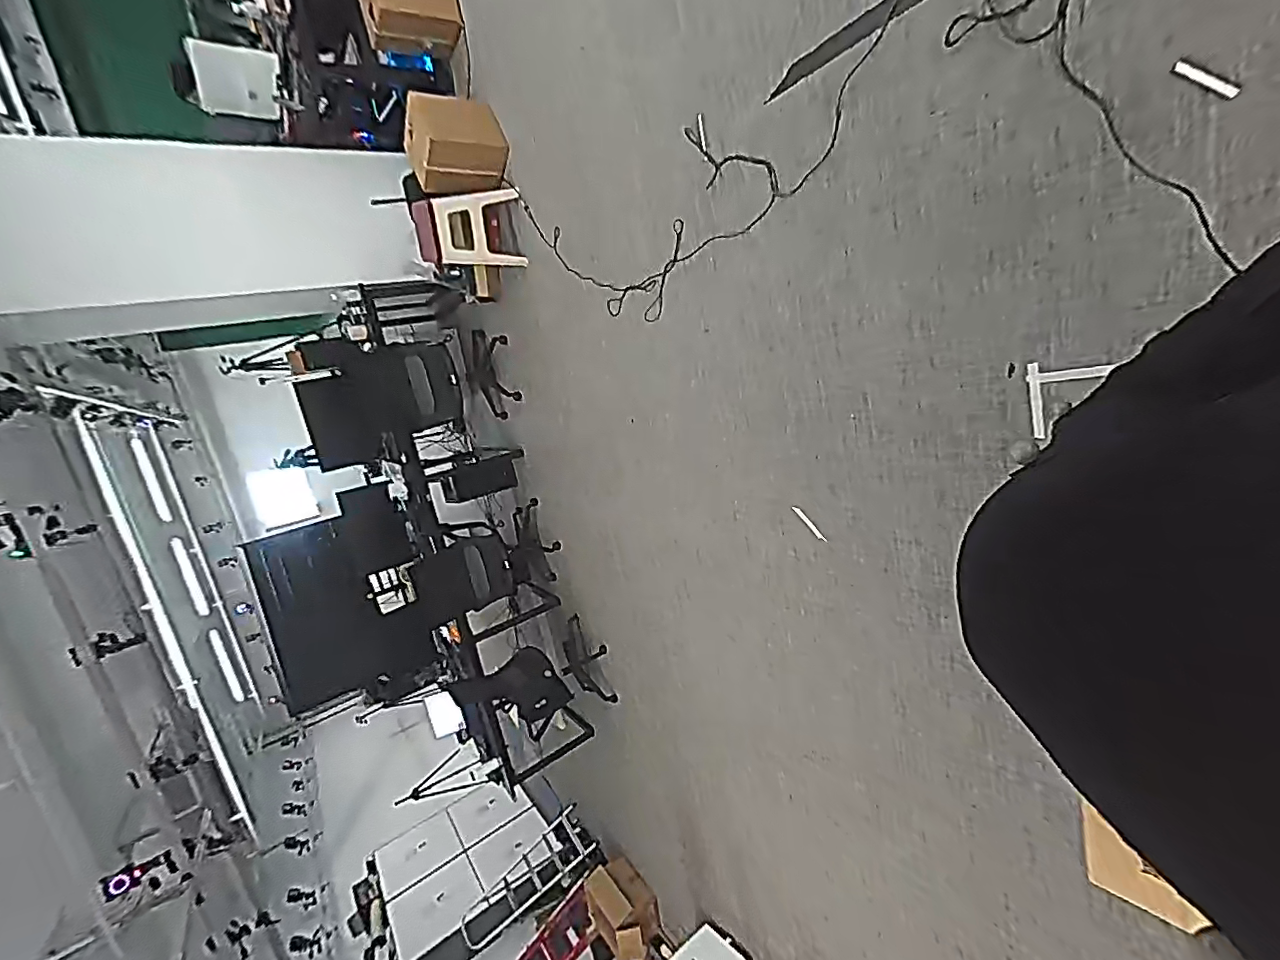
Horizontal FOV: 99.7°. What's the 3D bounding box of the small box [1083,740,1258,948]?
[{"bbox_3d":[0.844,0.561,0.860,0.168,0.176,0.179,3,108,57],"label":"small box"}]
